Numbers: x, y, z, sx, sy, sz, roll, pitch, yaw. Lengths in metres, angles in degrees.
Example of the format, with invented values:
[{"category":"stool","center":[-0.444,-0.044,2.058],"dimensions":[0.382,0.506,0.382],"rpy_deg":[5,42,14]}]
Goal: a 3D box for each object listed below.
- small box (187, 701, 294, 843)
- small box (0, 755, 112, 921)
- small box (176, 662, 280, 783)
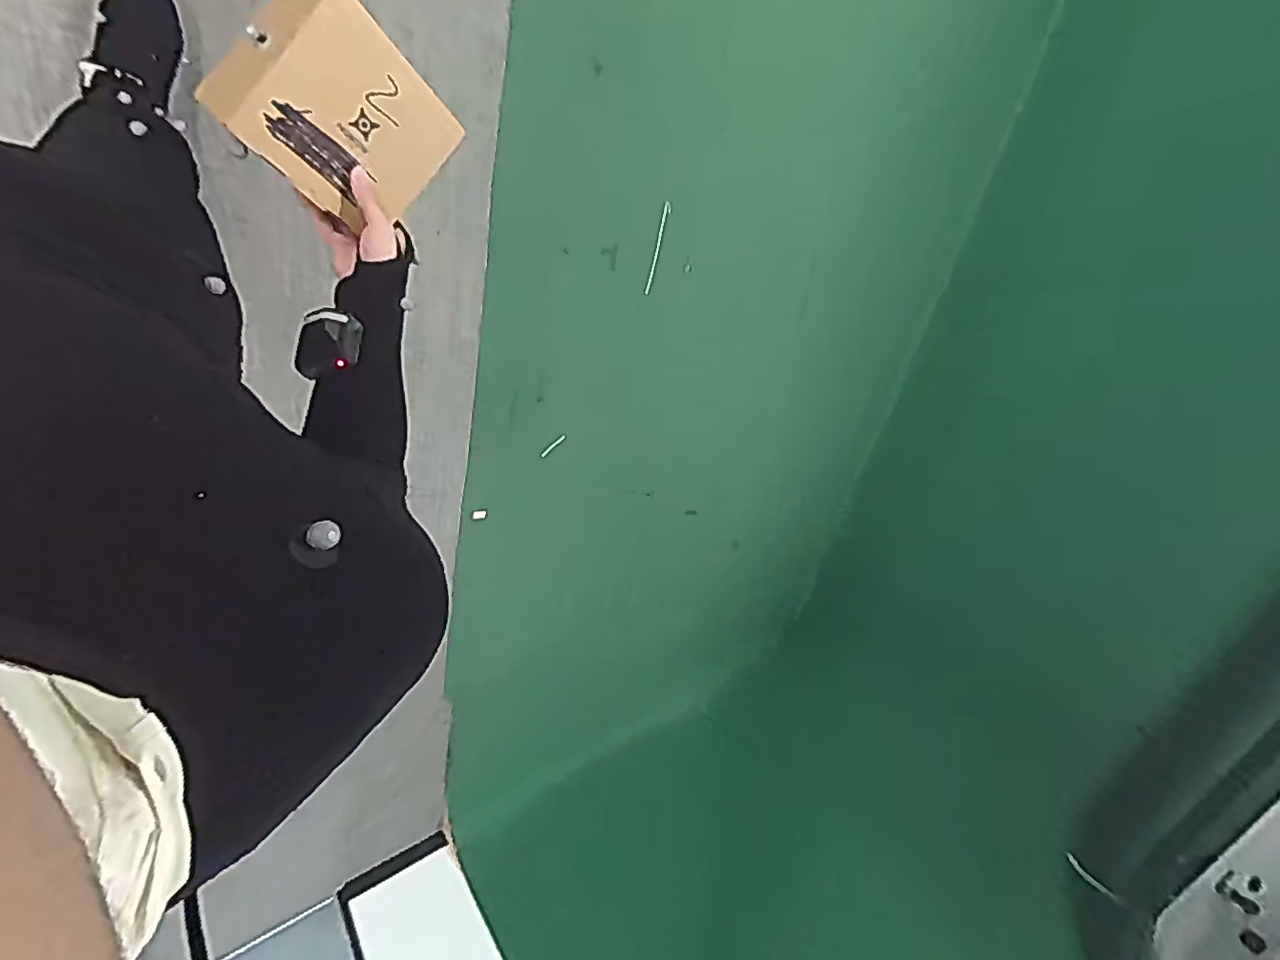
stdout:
[{"category":"small box","center":[-0.860,0.618,1.164],"dimensions":[0.168,0.176,0.179],"rpy_deg":[-4,119,-43]},{"category":"small box","center":[-1.062,0.626,0.966],"dimensions":[0.168,0.176,0.179],"rpy_deg":[0,117,-44]},{"category":"small box","center":[-0.969,0.556,1.269],"dimensions":[0.179,0.176,0.168],"rpy_deg":[-3,118,-43]}]
